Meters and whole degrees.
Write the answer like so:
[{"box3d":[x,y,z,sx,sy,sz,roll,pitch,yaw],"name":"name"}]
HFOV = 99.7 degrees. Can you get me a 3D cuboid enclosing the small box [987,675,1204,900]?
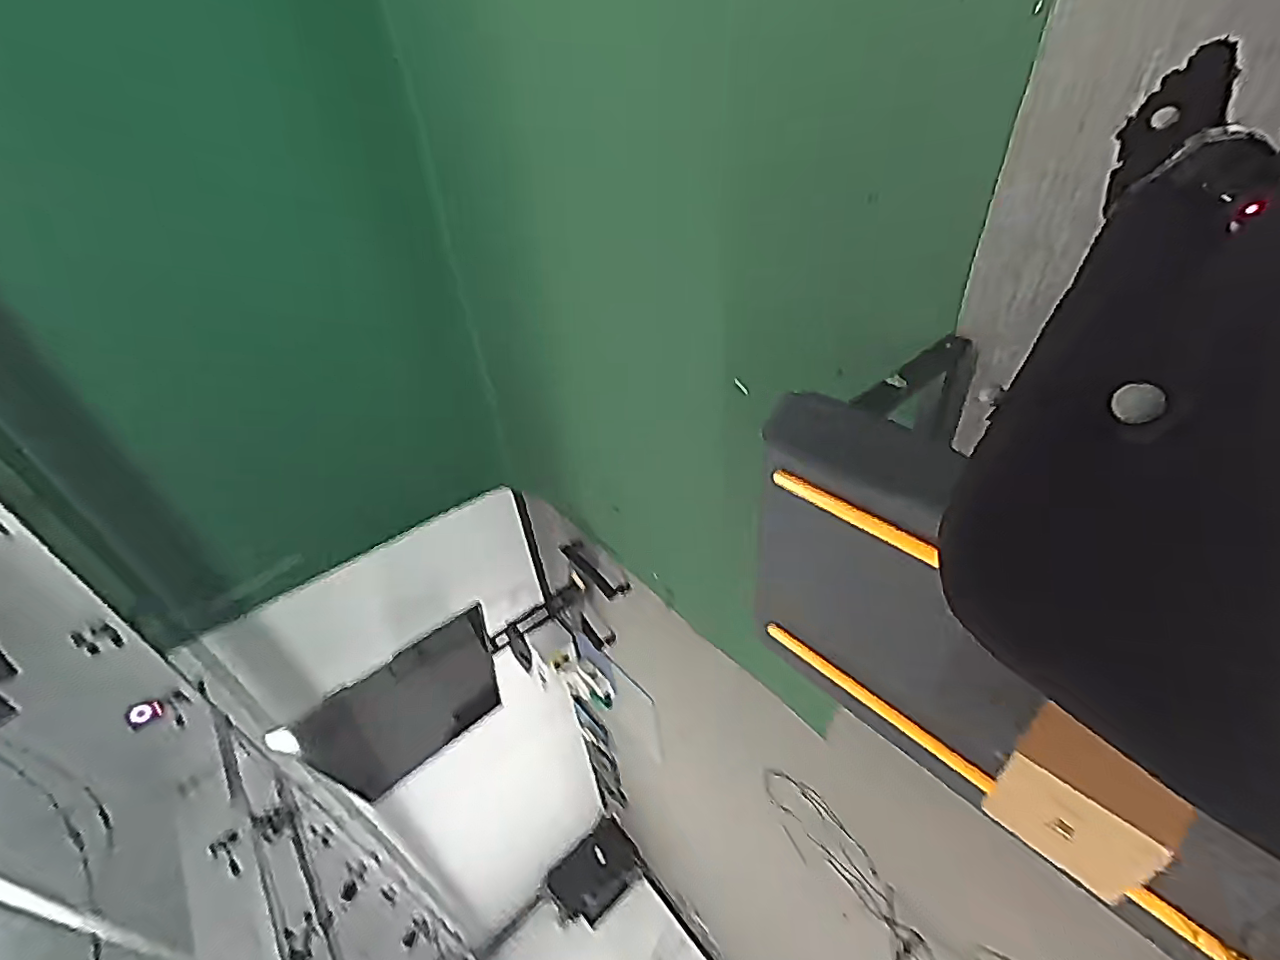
[{"box3d":[0.624,0.415,0.749,0.168,0.176,0.179,29,138,41],"name":"small box"}]
